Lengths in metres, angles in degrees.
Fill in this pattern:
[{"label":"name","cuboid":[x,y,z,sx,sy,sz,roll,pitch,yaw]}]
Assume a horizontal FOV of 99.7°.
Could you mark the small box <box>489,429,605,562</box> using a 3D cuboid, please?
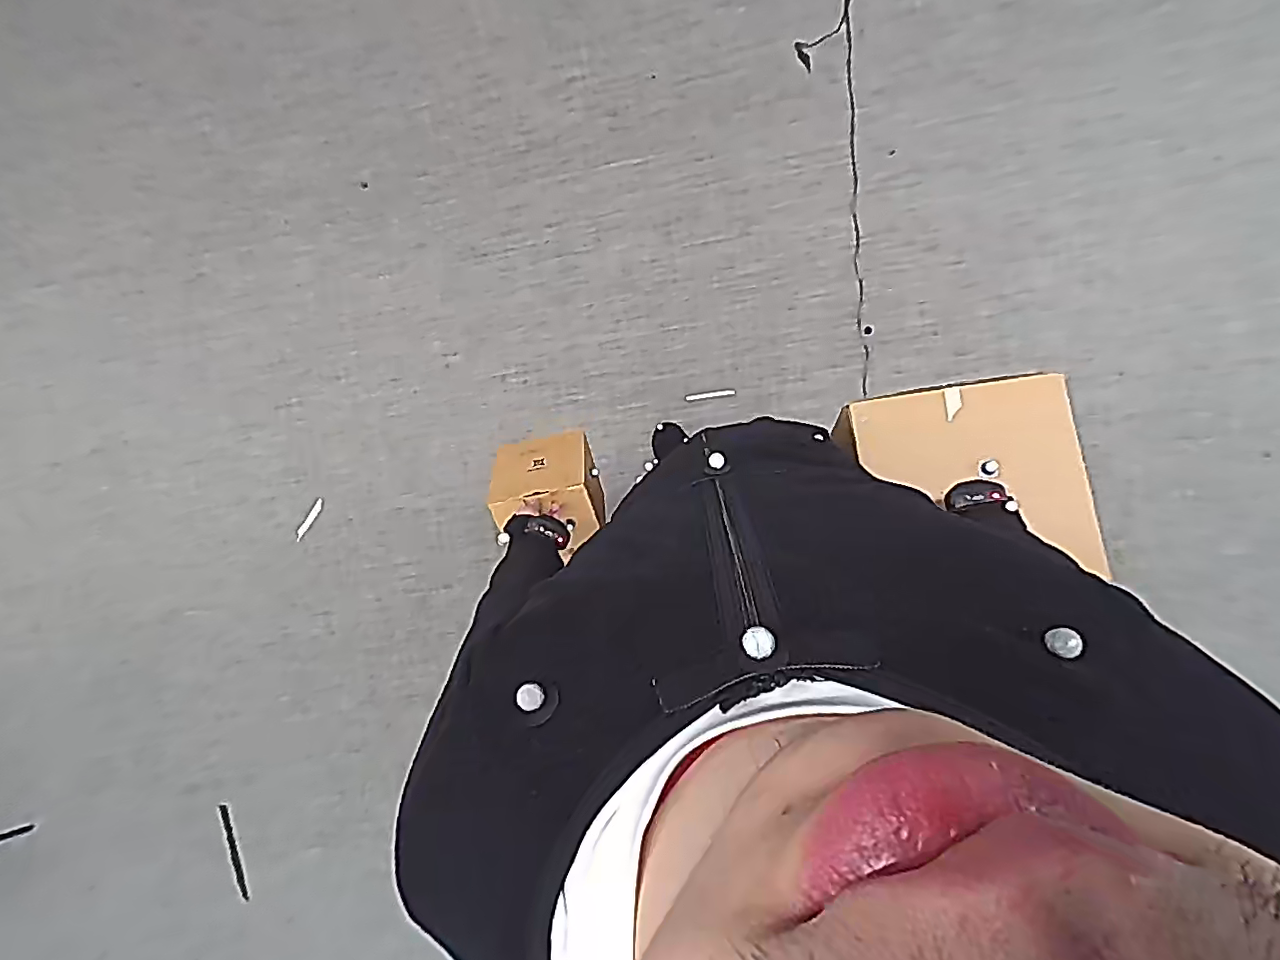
[{"label":"small box","cuboid":[-0.163,0.034,1.002,0.168,0.179,0.176,-12,127,2]}]
